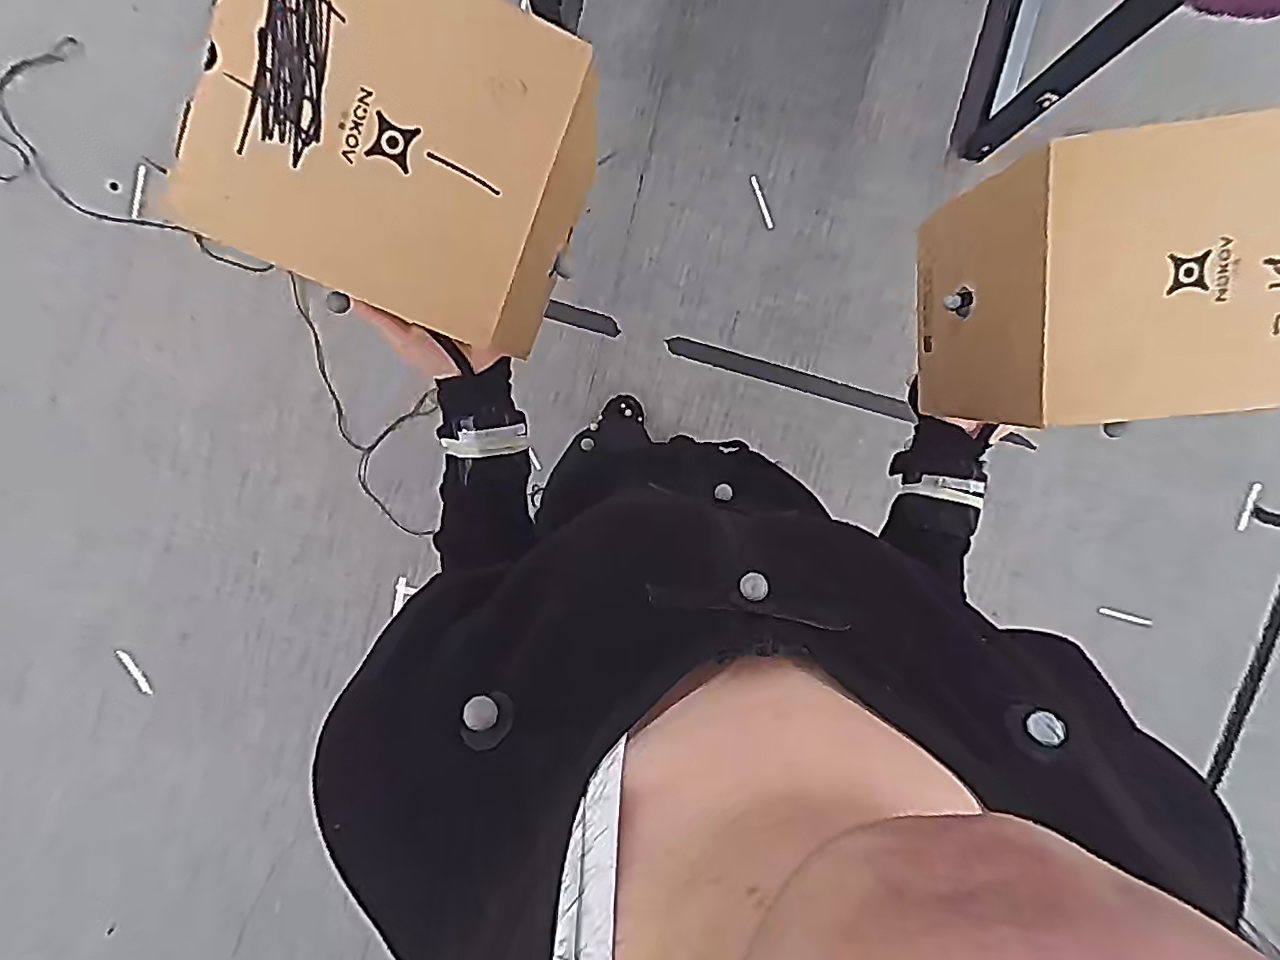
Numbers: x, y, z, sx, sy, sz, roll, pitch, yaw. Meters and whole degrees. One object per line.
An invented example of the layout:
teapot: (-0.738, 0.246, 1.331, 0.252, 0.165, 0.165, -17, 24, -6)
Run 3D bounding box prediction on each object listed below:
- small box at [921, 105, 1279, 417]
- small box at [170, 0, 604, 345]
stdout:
small box: (0.326, -0.137, 0.391, 0.179, 0.176, 0.168, -5, 101, 3)
small box: (-0.135, -0.195, 0.352, 0.179, 0.176, 0.168, 21, 99, -9)
